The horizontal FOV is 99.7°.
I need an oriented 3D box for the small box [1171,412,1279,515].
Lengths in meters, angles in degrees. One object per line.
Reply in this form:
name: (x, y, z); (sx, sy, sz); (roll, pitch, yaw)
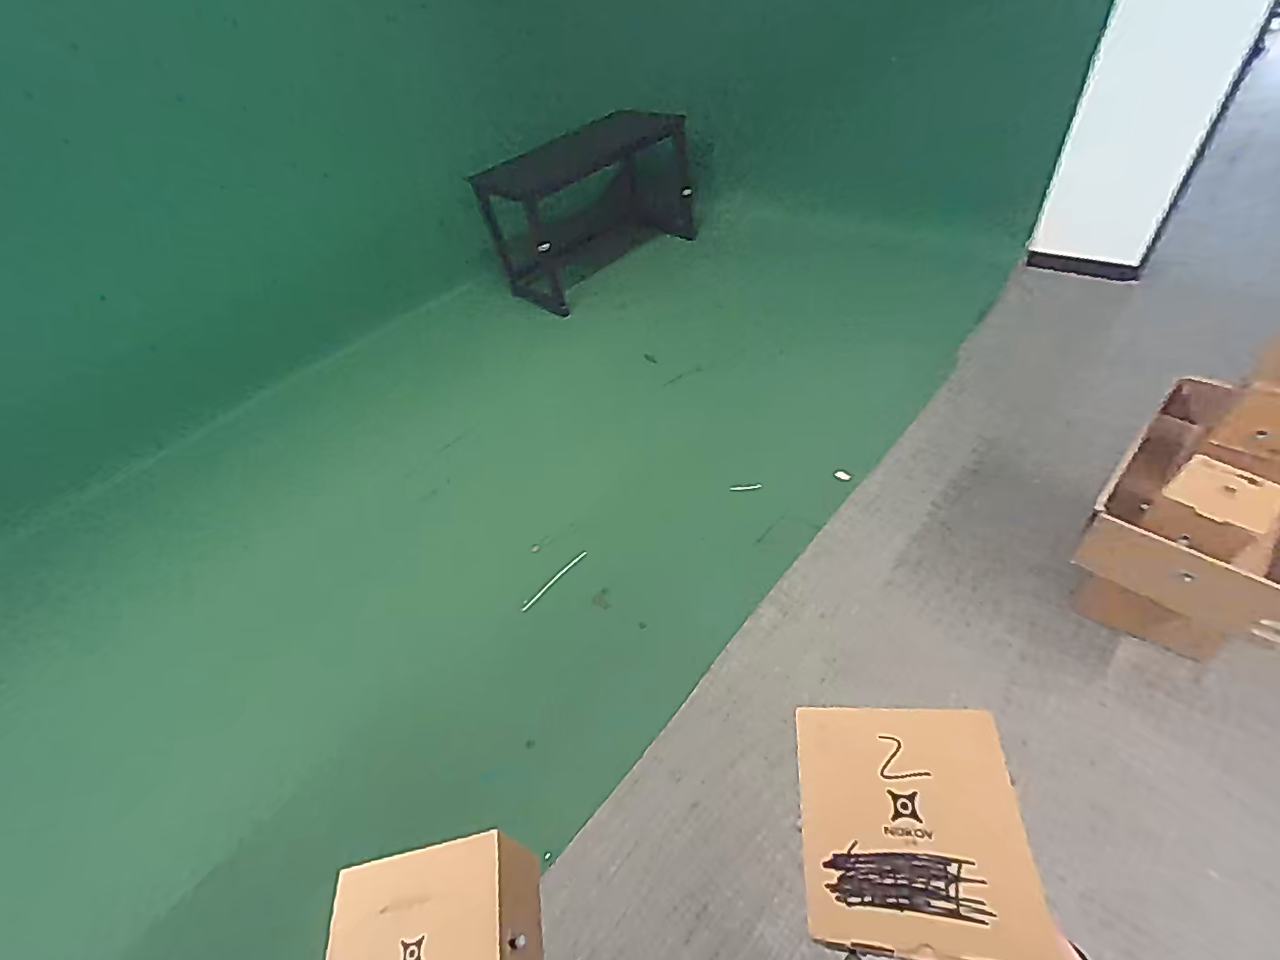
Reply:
small box: (1.436, -0.052, 1.297); (0.168, 0.176, 0.179); (31, 62, 36)

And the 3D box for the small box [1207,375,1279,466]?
small box: (1.404, -0.159, 1.179); (0.168, 0.176, 0.179); (31, 62, 35)

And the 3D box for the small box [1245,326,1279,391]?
small box: (1.373, -0.274, 1.065); (0.179, 0.176, 0.168); (-35, 49, -16)
